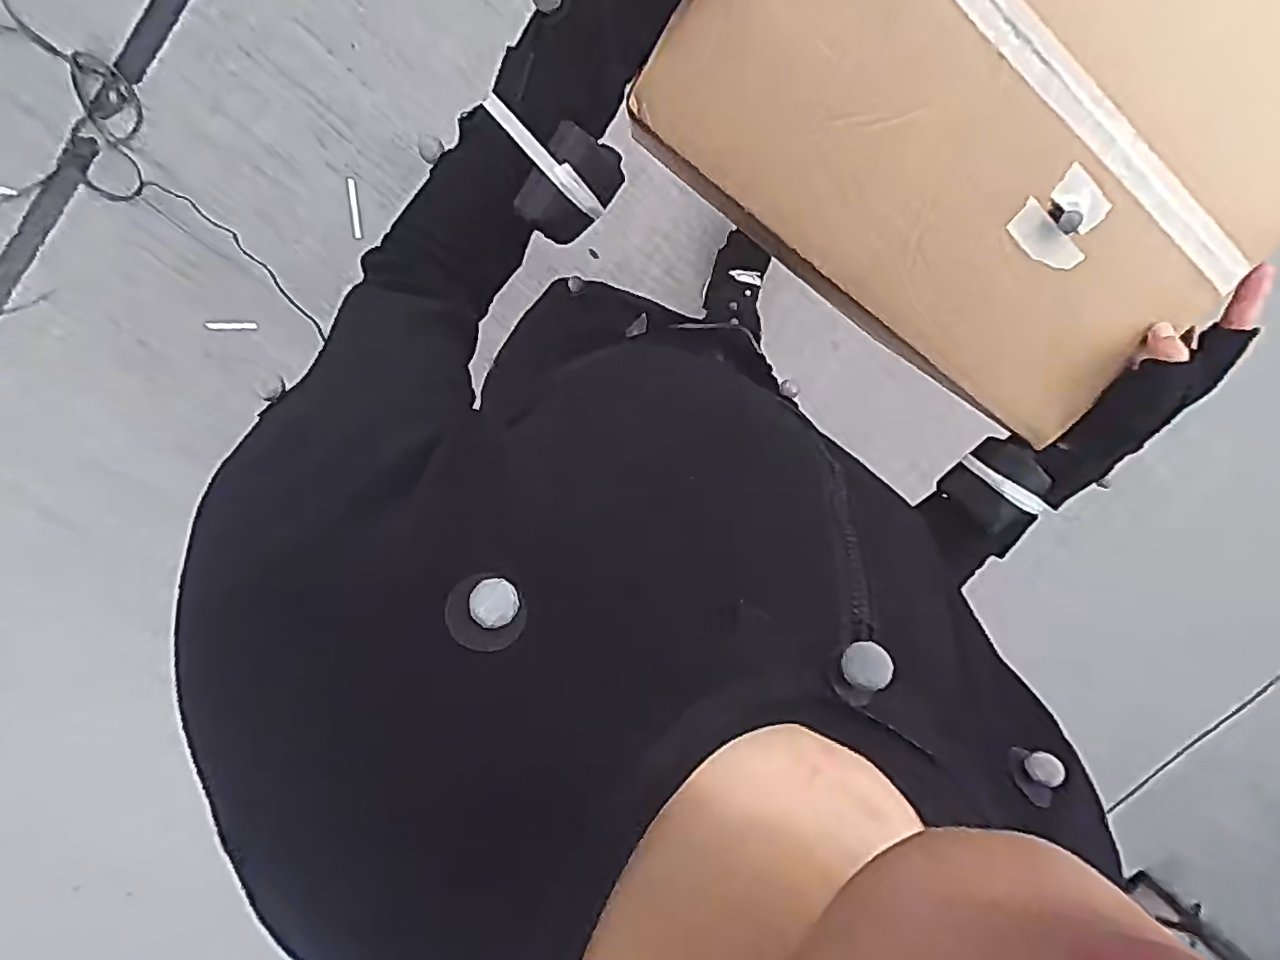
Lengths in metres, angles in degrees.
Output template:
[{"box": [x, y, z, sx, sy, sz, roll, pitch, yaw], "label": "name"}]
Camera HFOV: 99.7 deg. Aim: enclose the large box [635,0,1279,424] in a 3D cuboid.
[{"box": [0.242, -0.321, 0.461, 0.408, 0.320, 0.320, 31, 116, -17], "label": "large box"}]
